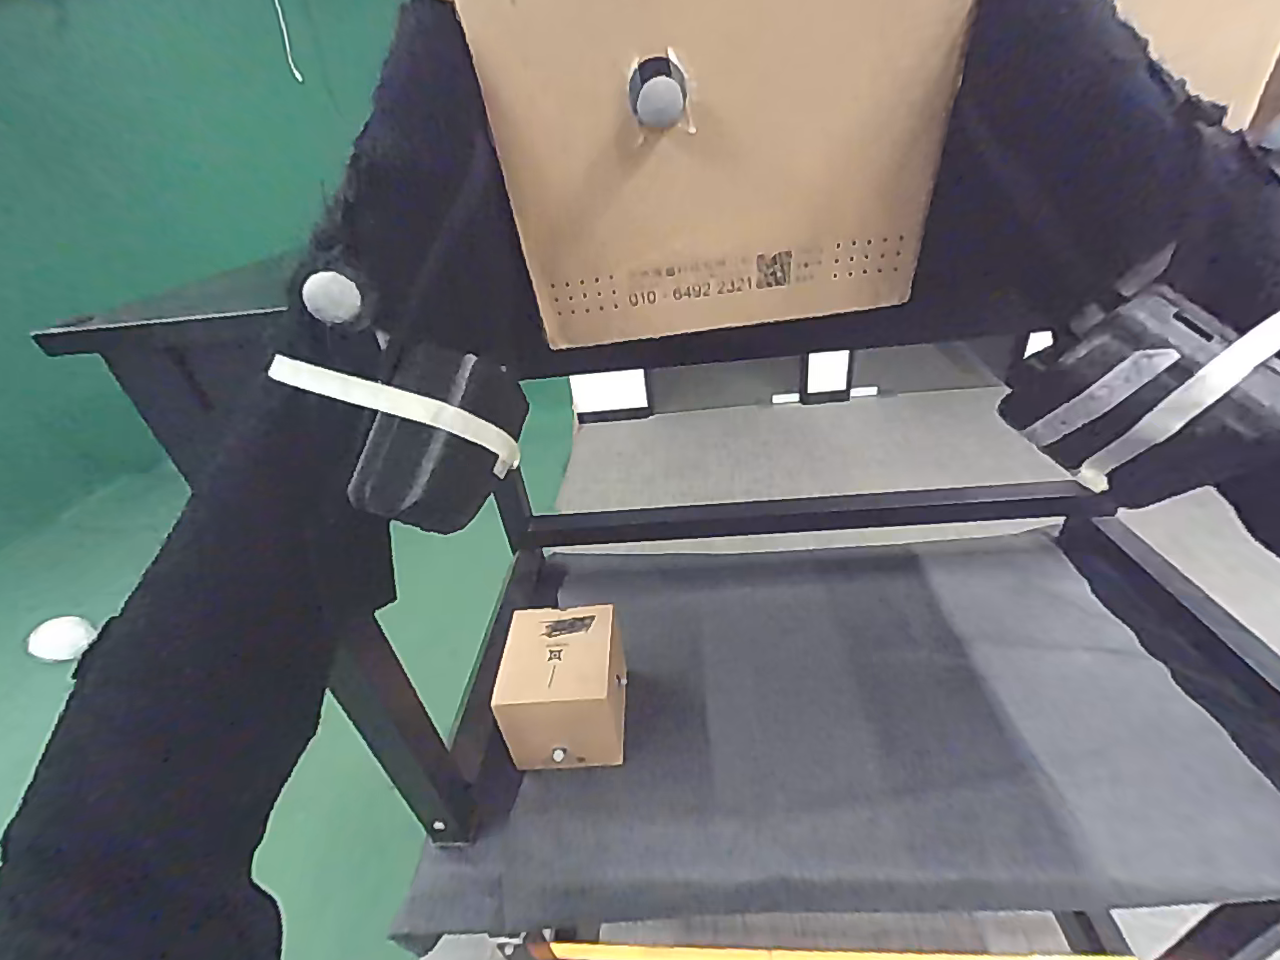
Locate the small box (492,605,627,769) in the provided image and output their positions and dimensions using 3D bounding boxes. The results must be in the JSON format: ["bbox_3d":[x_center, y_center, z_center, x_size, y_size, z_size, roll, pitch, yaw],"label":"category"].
[{"bbox_3d":[-0.114,0.322,0.849,0.168,0.176,0.179,-5,33,4],"label":"small box"}]

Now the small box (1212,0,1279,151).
[{"bbox_3d":[0.511,-0.297,0.312,0.168,0.176,0.179,1,33,14],"label":"small box"}]
